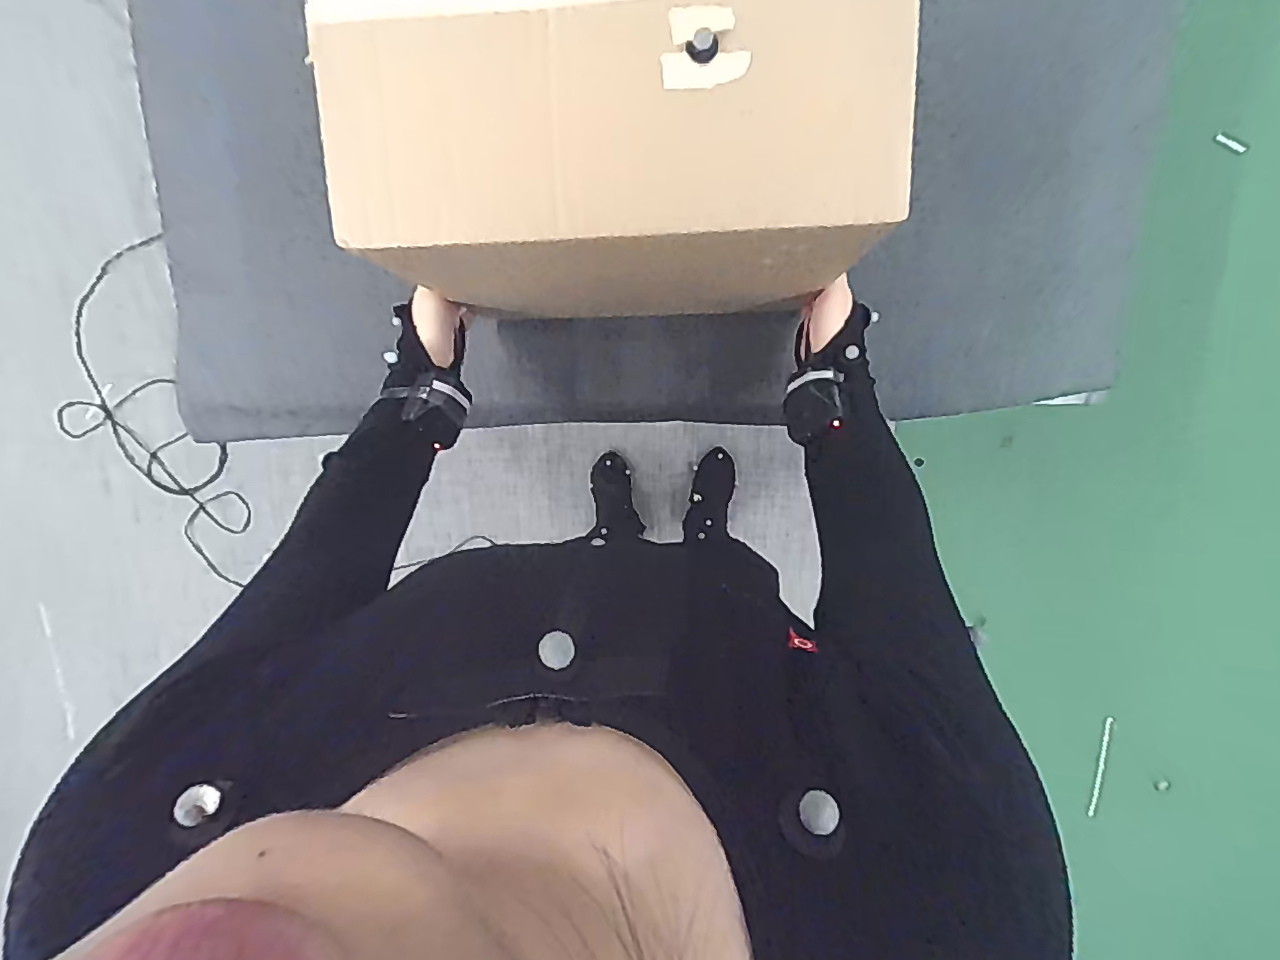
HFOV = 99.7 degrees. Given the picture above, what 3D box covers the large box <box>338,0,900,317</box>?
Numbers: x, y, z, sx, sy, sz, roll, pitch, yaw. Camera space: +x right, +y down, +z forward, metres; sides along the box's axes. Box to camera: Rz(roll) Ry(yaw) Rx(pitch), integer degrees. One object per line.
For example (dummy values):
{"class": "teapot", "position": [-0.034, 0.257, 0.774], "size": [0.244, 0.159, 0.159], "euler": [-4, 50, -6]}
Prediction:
{"class": "large box", "position": [-0.013, -0.351, 0.525], "size": [0.408, 0.320, 0.320], "euler": [-1, 98, 4]}
